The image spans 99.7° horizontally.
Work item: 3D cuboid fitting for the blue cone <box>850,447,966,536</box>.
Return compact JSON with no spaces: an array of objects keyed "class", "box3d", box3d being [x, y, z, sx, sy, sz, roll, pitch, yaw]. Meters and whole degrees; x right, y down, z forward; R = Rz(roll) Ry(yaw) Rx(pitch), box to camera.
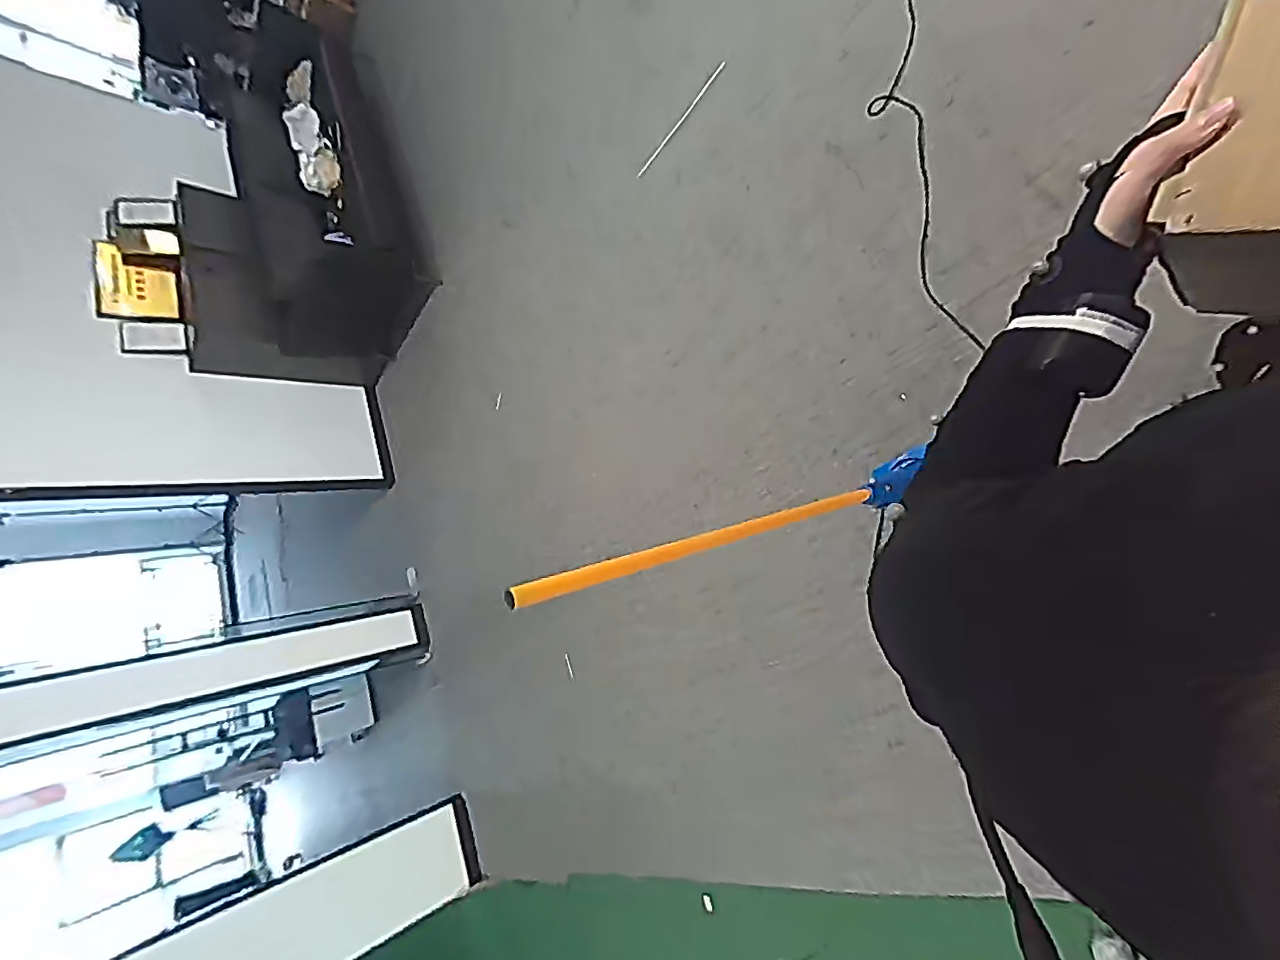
[{"class":"blue cone","box3d":[0.602,0.039,1.284,0.193,0.380,0.192,-39,65,40]}]
